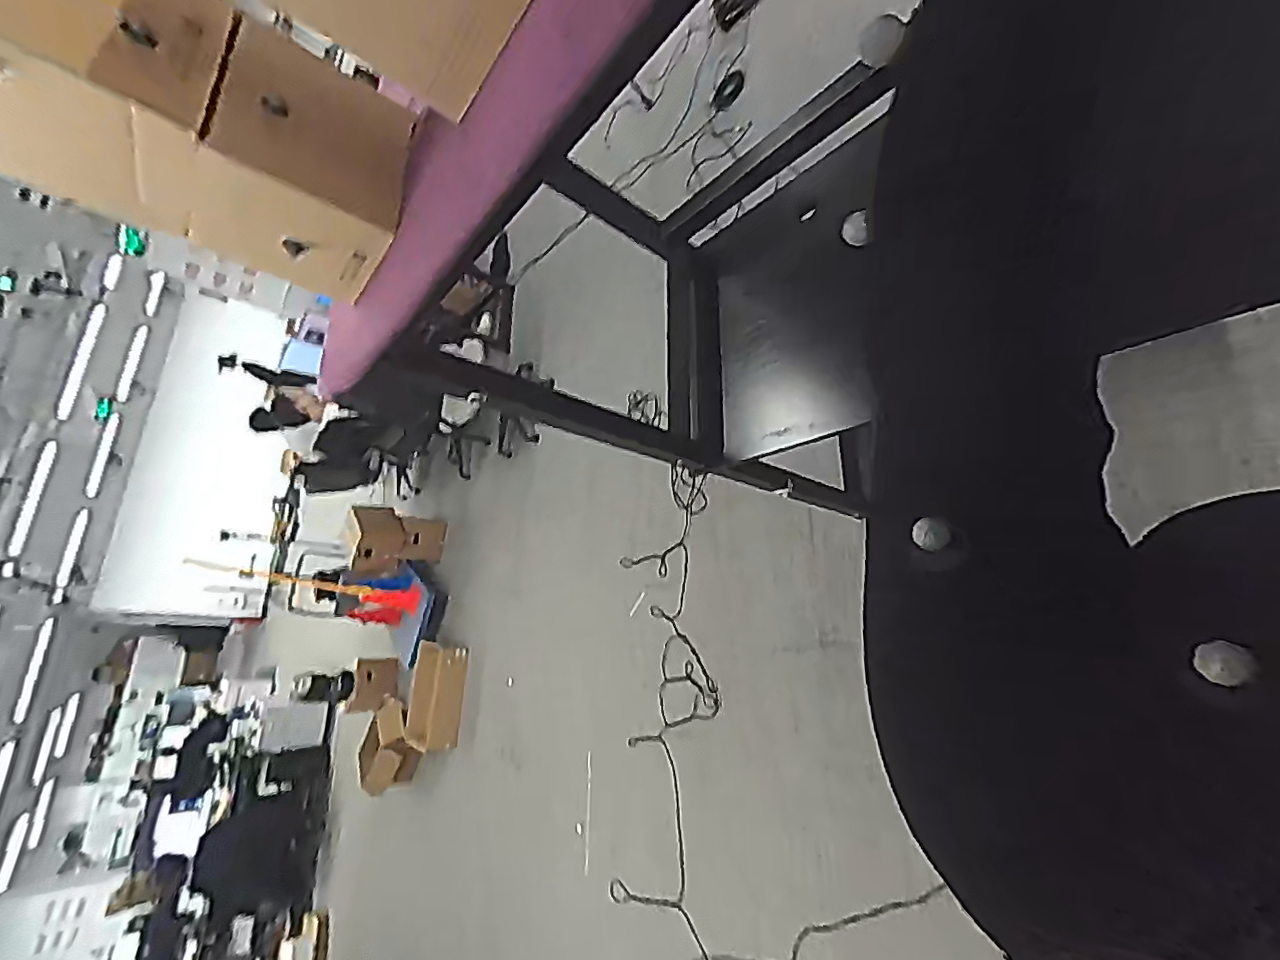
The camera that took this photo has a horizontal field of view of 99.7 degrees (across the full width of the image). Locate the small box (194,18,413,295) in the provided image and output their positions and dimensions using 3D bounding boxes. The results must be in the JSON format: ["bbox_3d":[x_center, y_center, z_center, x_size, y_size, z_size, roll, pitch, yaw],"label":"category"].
[{"bbox_3d":[-0.369,-0.333,0.604,0.168,0.176,0.179,-19,65,45],"label":"small box"}]

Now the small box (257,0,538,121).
[{"bbox_3d":[-0.156,-0.412,0.376,0.179,0.176,0.168,-21,63,47],"label":"small box"}]

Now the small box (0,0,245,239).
[{"bbox_3d":[-0.491,-0.364,0.500,0.179,0.176,0.168,-20,65,45],"label":"small box"}]
